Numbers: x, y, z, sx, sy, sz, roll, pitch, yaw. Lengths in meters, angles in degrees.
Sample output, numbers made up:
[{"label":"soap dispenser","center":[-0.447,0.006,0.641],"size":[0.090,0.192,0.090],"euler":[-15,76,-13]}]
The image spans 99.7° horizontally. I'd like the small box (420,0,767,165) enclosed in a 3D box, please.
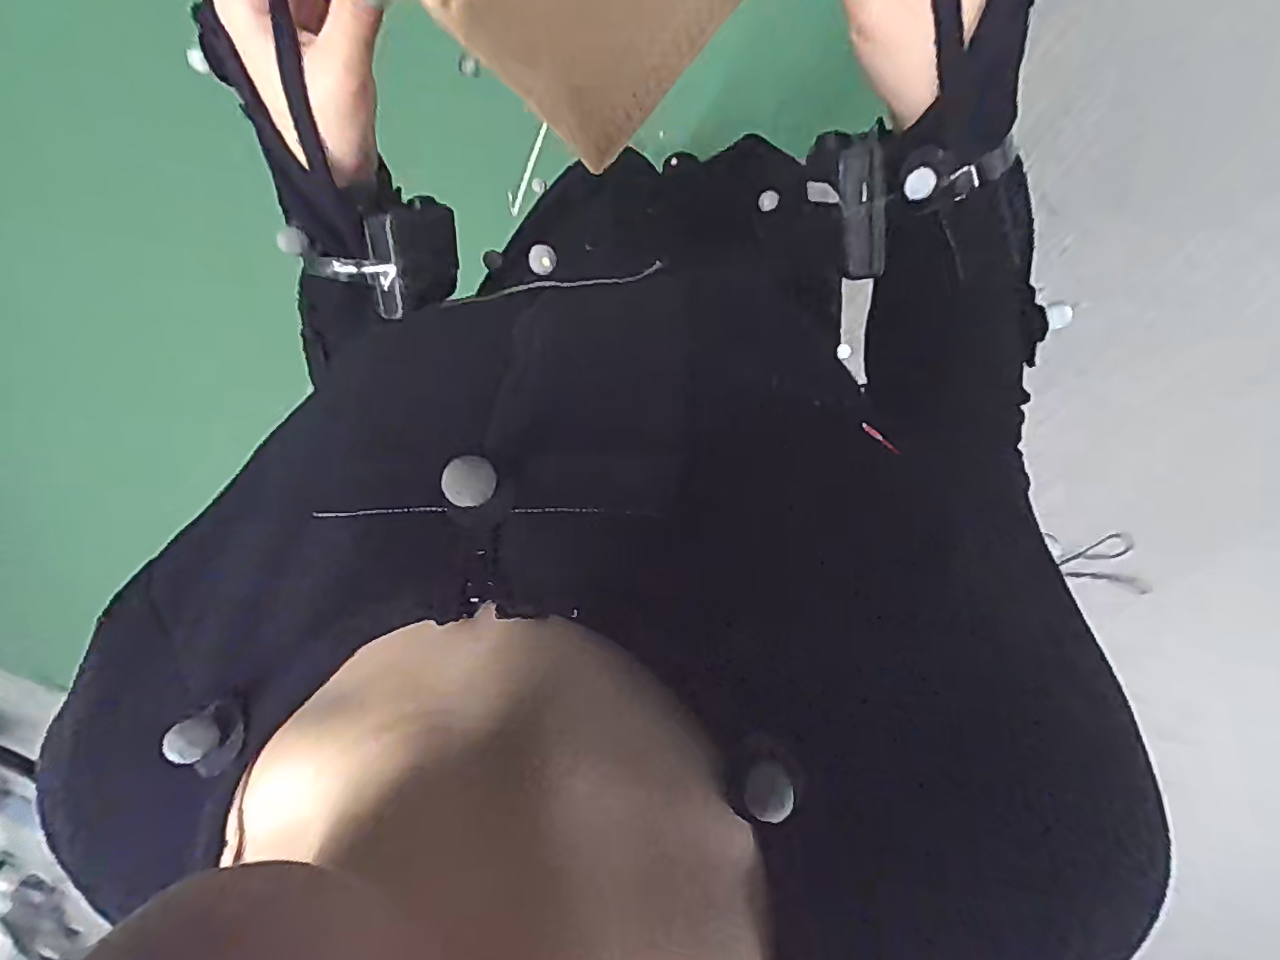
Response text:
[{"label":"small box","center":[-0.021,-0.239,0.168],"size":[0.168,0.176,0.179],"euler":[45,109,-8]}]
